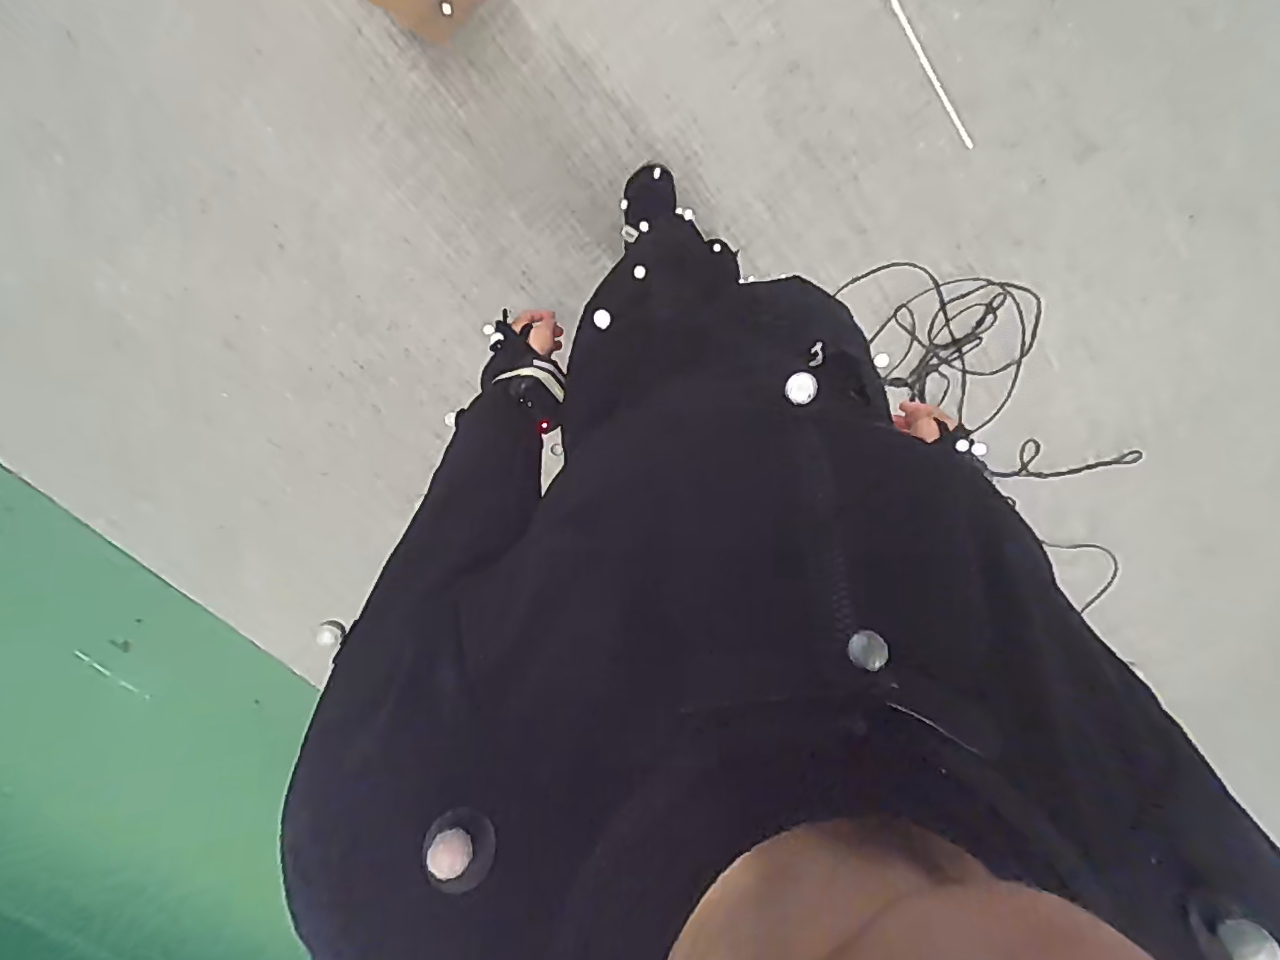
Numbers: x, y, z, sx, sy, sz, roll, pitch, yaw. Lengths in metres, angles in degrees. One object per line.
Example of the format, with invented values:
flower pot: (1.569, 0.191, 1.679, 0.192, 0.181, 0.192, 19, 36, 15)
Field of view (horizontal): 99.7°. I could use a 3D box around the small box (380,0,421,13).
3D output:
small box: (-0.378, -0.845, 0.788, 0.179, 0.176, 0.168, -31, 111, 20)
